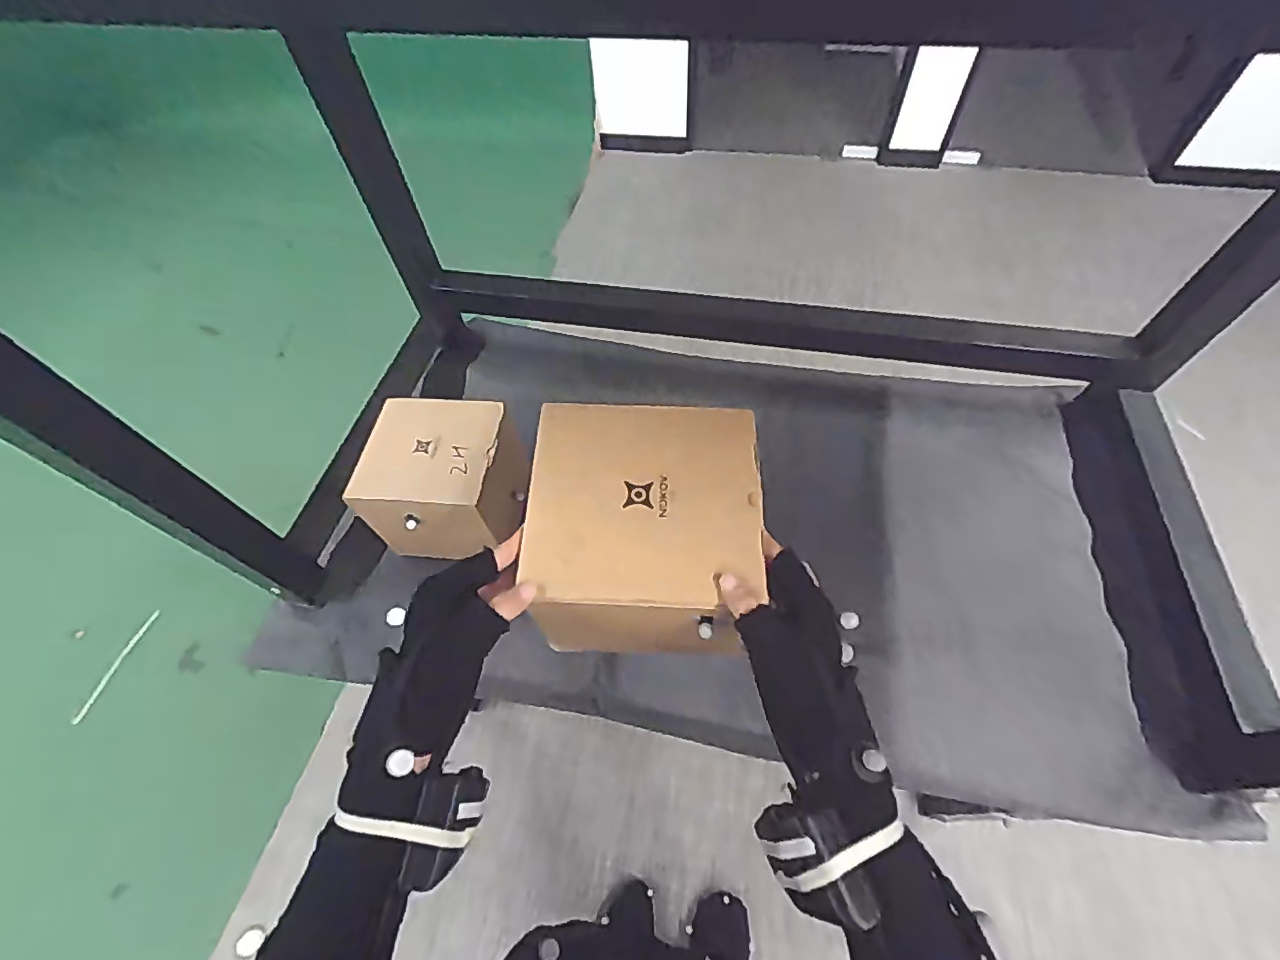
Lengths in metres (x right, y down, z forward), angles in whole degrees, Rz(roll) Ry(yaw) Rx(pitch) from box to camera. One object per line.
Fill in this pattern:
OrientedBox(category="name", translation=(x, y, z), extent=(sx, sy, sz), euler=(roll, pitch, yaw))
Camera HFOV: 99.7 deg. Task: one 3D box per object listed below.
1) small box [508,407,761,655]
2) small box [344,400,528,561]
OrientedBox(category="small box", translation=(0.000, 0.053, 0.472), extent=(0.179, 0.176, 0.168), euler=(2, 62, 1))
OrientedBox(category="small box", translation=(-0.270, 0.005, 0.769), extent=(0.179, 0.176, 0.168), euler=(3, 58, 5))
